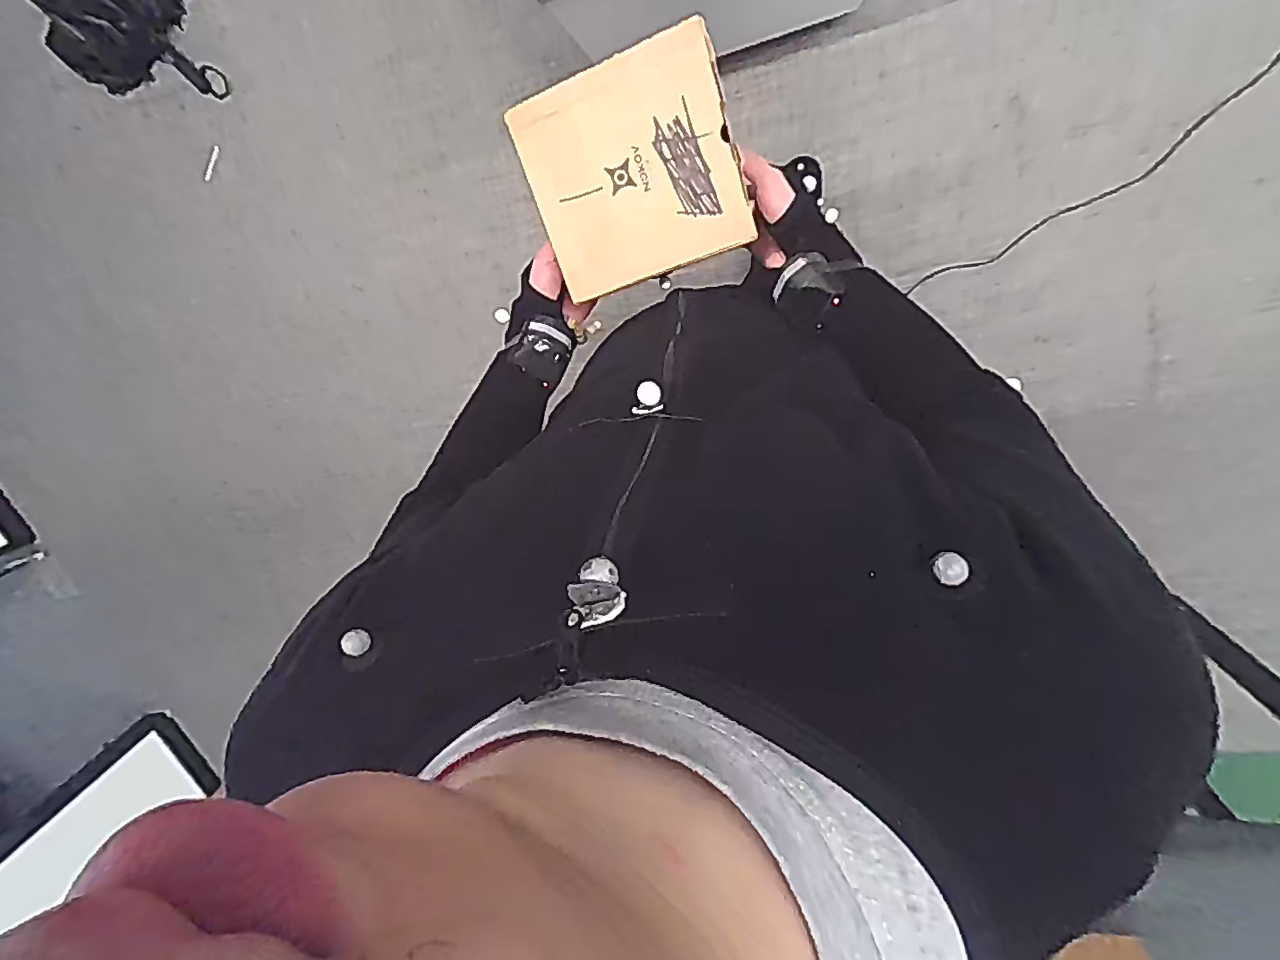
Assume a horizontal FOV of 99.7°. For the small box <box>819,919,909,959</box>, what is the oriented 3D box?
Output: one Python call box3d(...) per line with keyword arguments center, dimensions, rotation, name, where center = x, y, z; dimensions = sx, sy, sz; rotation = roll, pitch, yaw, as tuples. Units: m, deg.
box3d(center=(0.493, 1.092, 1.169), dimensions=(0.179, 0.176, 0.168), rotation=(-4, 113, 10), name="small box")
